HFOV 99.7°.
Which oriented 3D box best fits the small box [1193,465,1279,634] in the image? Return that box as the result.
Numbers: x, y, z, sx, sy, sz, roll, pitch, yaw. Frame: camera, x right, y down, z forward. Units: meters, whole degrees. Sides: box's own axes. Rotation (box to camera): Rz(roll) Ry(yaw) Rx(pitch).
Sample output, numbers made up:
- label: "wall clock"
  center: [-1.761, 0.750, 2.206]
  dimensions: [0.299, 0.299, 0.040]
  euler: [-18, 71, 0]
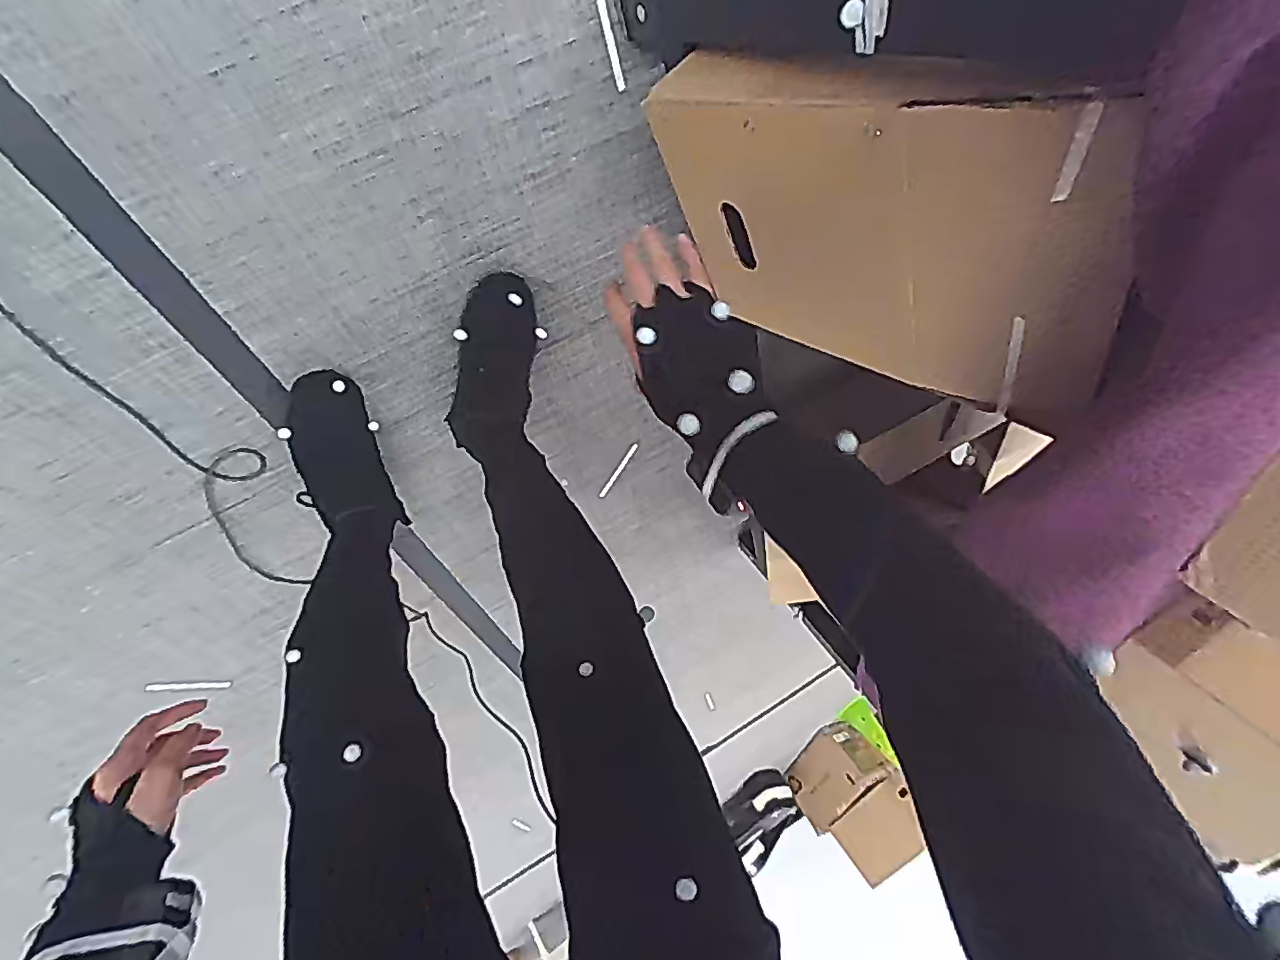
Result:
- label: "small box"
  center: [0.467, 0.025, 0.283]
  dimensions: [0.168, 0.176, 0.179]
  euler: [-29, 136, -7]
